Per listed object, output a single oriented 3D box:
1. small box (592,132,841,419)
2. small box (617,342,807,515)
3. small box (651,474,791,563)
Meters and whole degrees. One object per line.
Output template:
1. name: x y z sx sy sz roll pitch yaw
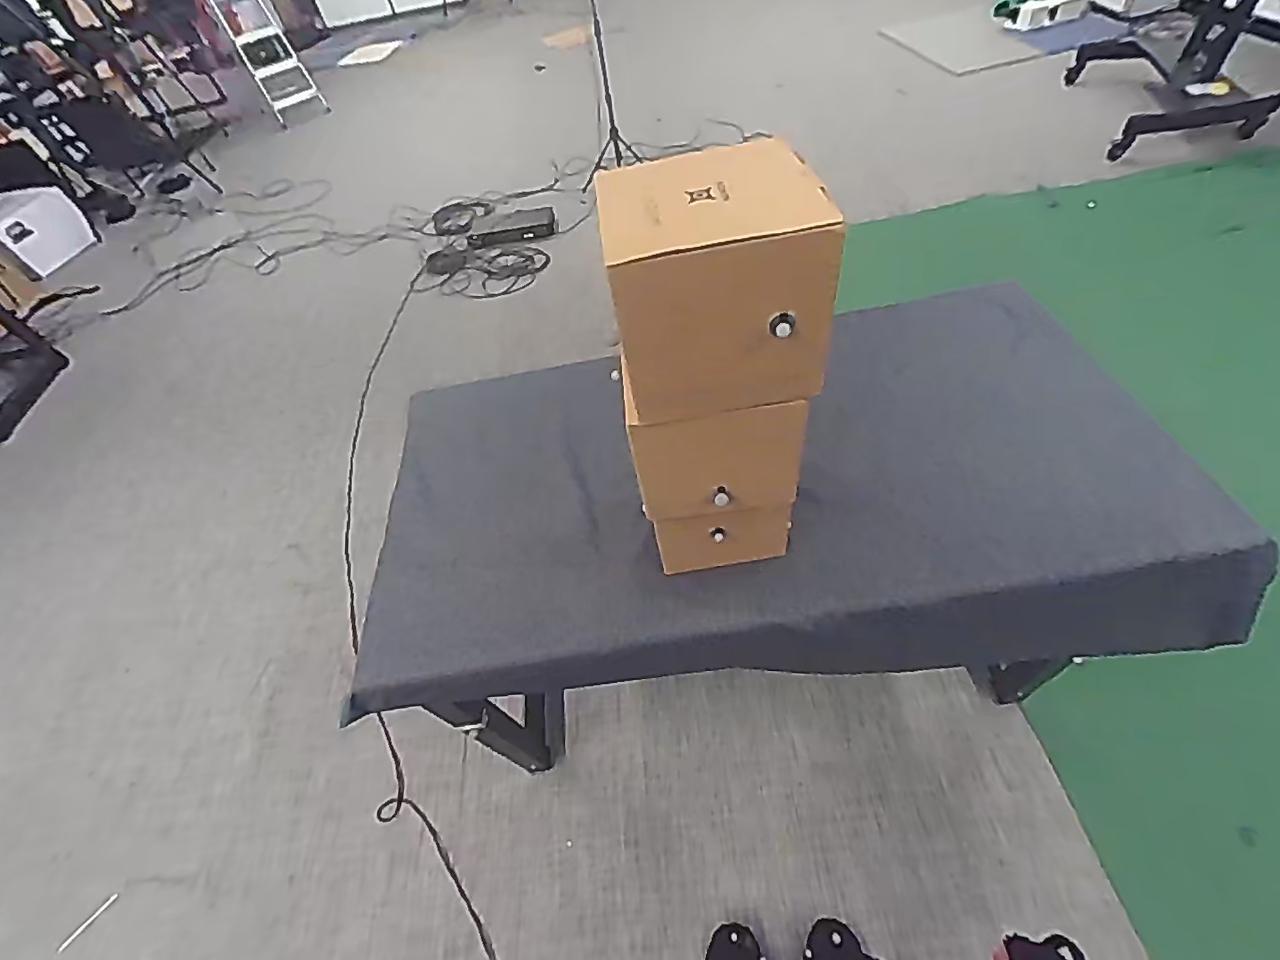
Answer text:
1. small box: 0.061 -0.180 0.496 0.179 0.176 0.168 -11 51 4
2. small box: 0.077 -0.080 0.626 0.179 0.176 0.168 -11 53 3
3. small box: 0.101 -0.001 0.765 0.179 0.176 0.168 -10 52 4
